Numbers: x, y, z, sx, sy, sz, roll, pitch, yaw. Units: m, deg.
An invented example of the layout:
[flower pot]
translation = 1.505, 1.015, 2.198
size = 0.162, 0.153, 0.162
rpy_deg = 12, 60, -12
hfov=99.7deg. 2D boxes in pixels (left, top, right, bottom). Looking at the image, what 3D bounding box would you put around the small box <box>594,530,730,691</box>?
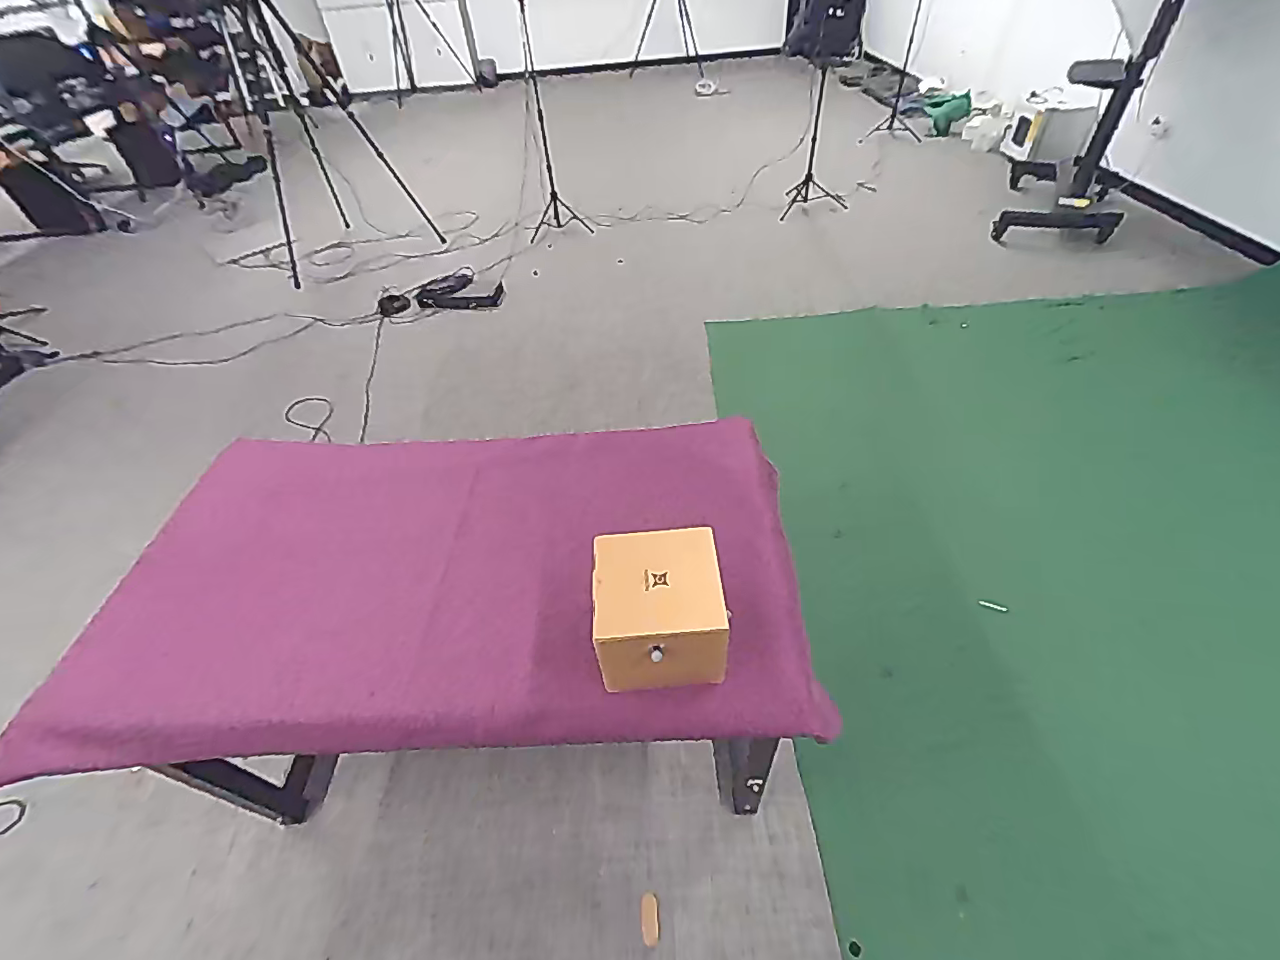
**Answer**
[small box]
translation = 0.031, 0.196, 0.798
size = 0.179, 0.176, 0.168
rpy_deg = -7, 47, 2
